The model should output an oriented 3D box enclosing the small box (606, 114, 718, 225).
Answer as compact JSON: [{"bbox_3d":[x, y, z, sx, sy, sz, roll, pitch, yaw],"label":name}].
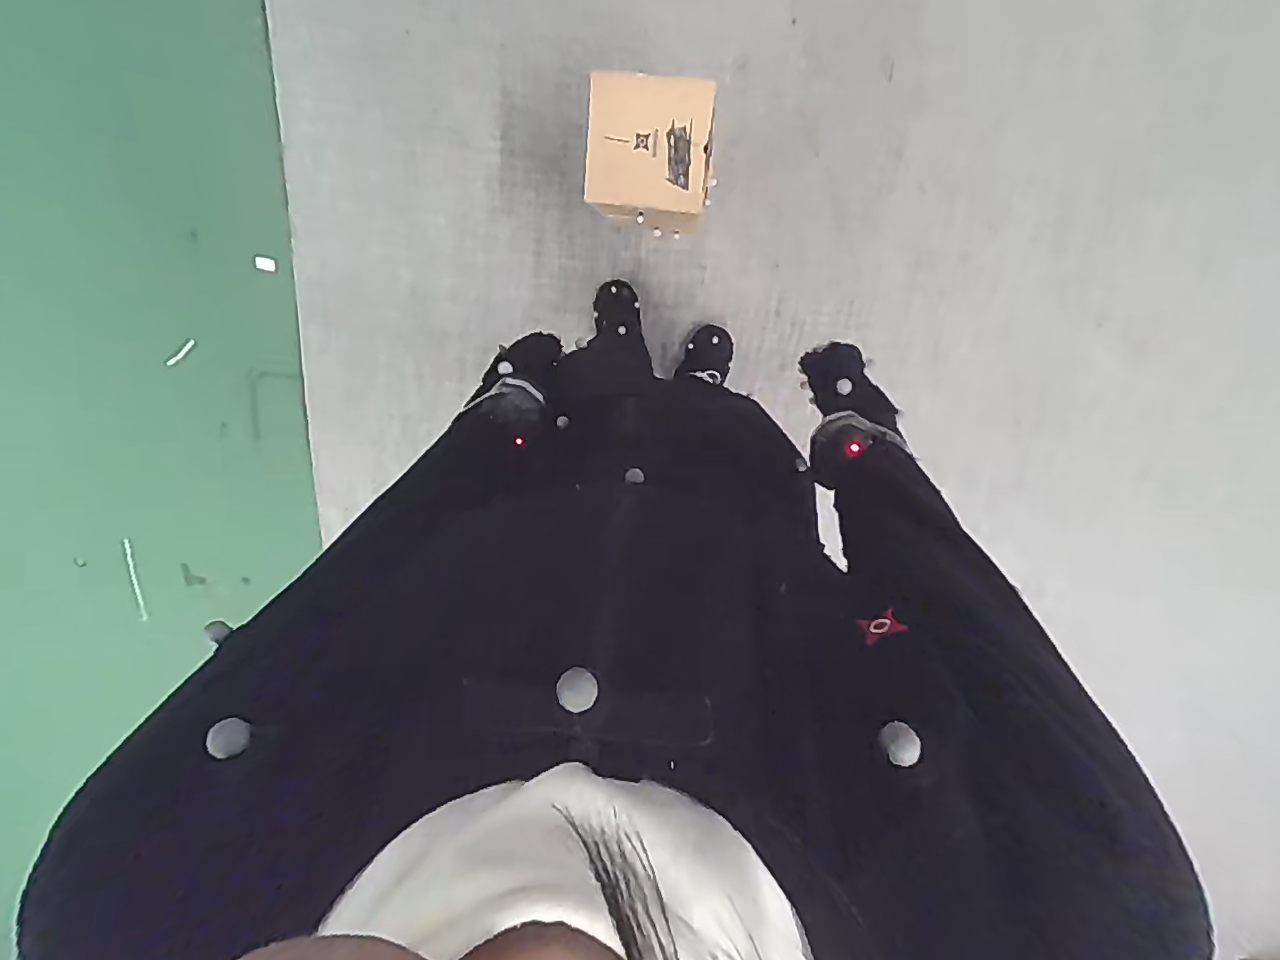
[{"bbox_3d":[0.040,-0.568,0.991,0.179,0.176,0.168,7,112,3],"label":"small box"}]

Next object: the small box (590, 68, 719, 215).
[{"bbox_3d":[0.022,-0.510,0.838,0.179,0.176,0.168,4,112,3],"label":"small box"}]
